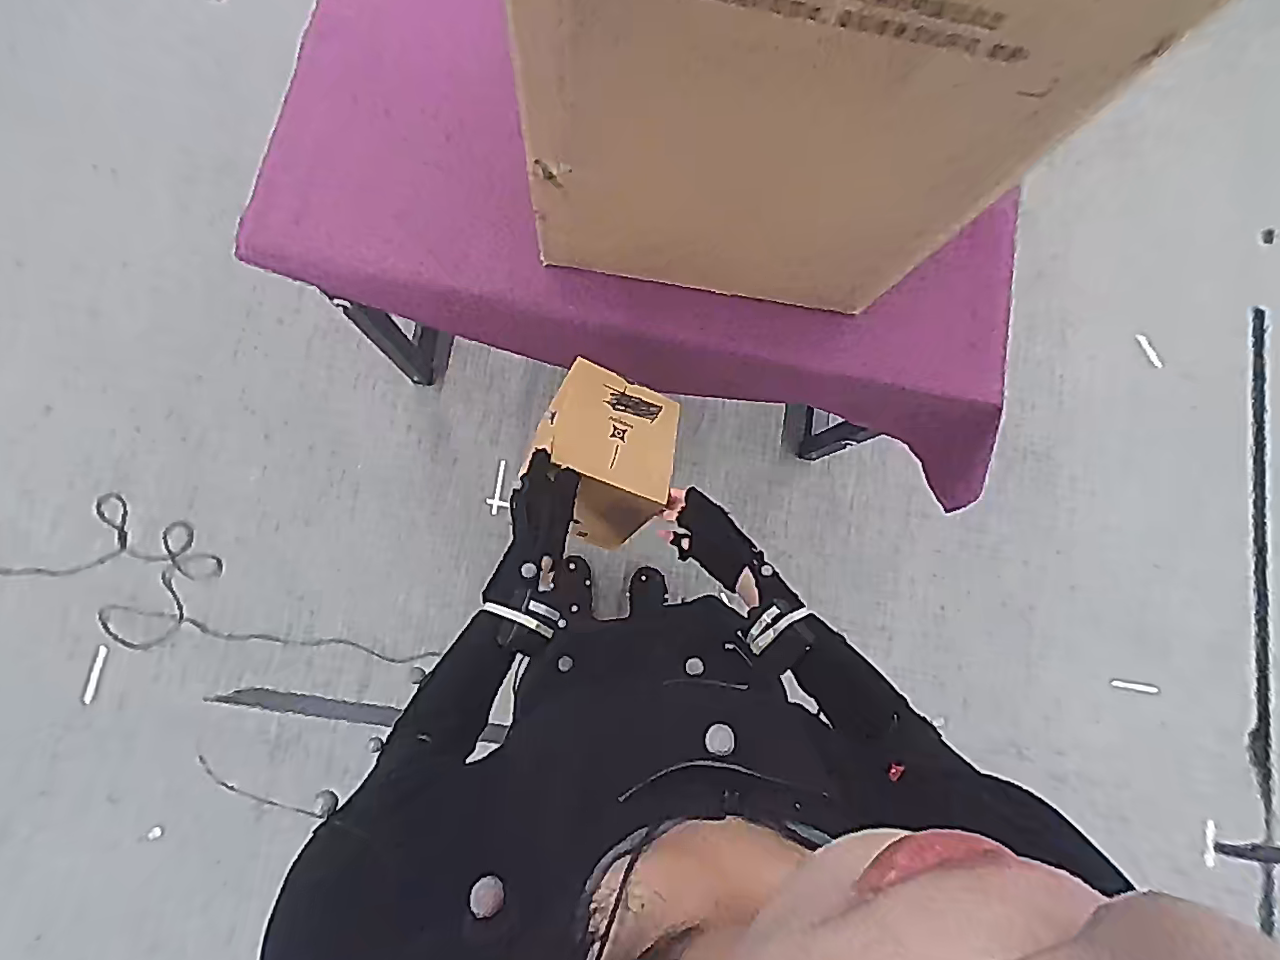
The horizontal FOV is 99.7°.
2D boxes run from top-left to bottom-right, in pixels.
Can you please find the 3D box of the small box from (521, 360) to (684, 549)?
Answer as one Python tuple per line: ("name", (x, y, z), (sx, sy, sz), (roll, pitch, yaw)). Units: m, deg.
("small box", (-0.055, -0.028, 0.766), (0.168, 0.176, 0.179), (21, 53, -17))
